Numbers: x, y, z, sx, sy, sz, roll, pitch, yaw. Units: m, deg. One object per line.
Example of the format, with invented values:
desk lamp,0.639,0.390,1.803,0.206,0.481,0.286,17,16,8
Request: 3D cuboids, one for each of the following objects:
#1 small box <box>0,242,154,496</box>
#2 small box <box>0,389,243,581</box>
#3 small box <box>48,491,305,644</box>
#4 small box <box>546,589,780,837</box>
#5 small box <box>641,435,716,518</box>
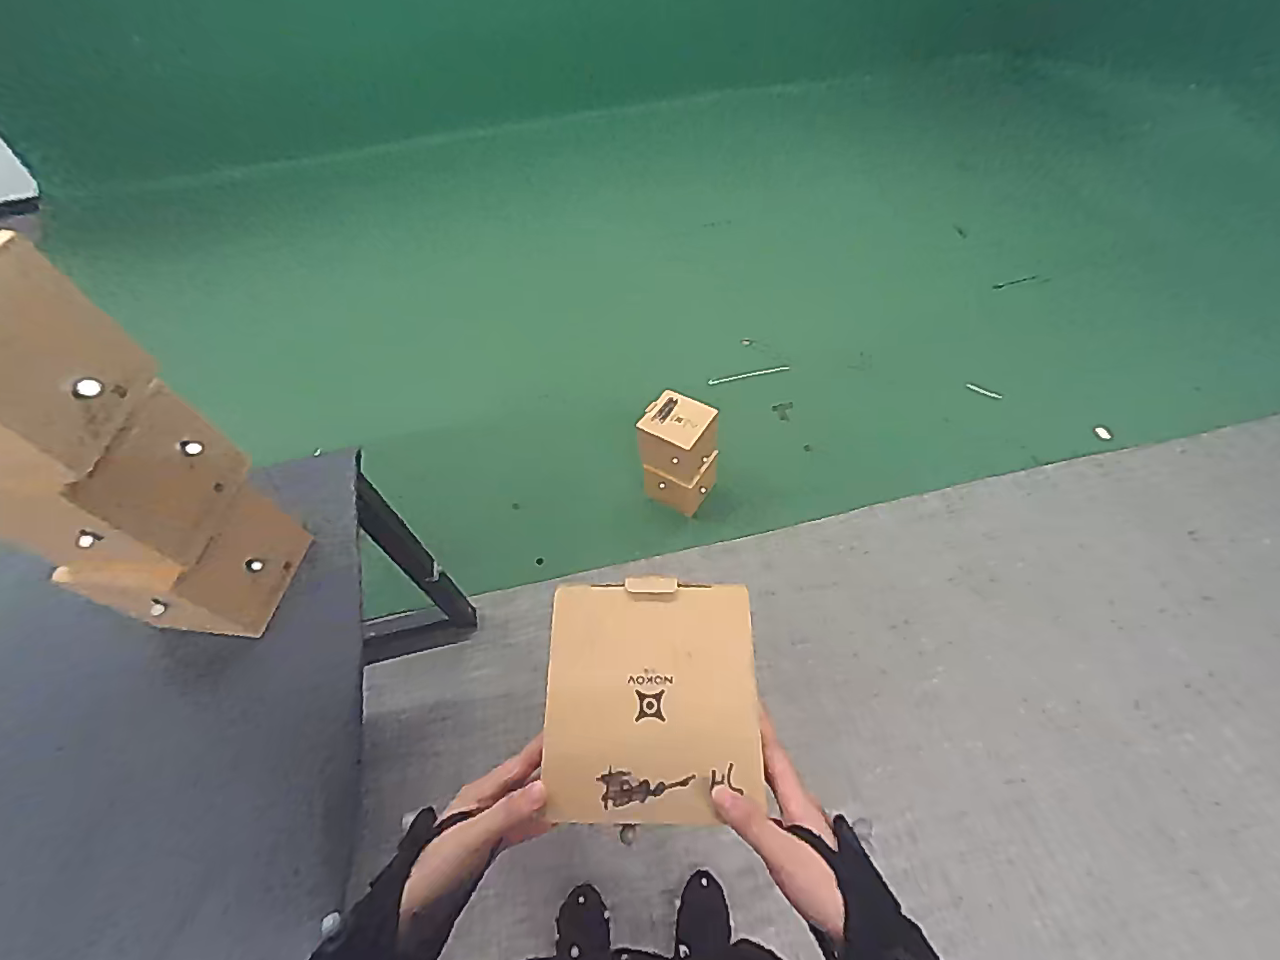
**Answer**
small box,-0.635,-0.093,0.506,0.179,0.176,0.168,-6,54,1
small box,-0.626,0.009,0.635,0.179,0.176,0.168,-2,53,6
small box,-0.619,0.120,0.755,0.179,0.176,0.168,2,54,9
small box,0.017,0.207,0.484,0.168,0.176,0.179,0,62,1
small box,0.123,-0.004,1.692,0.179,0.176,0.168,26,61,22
